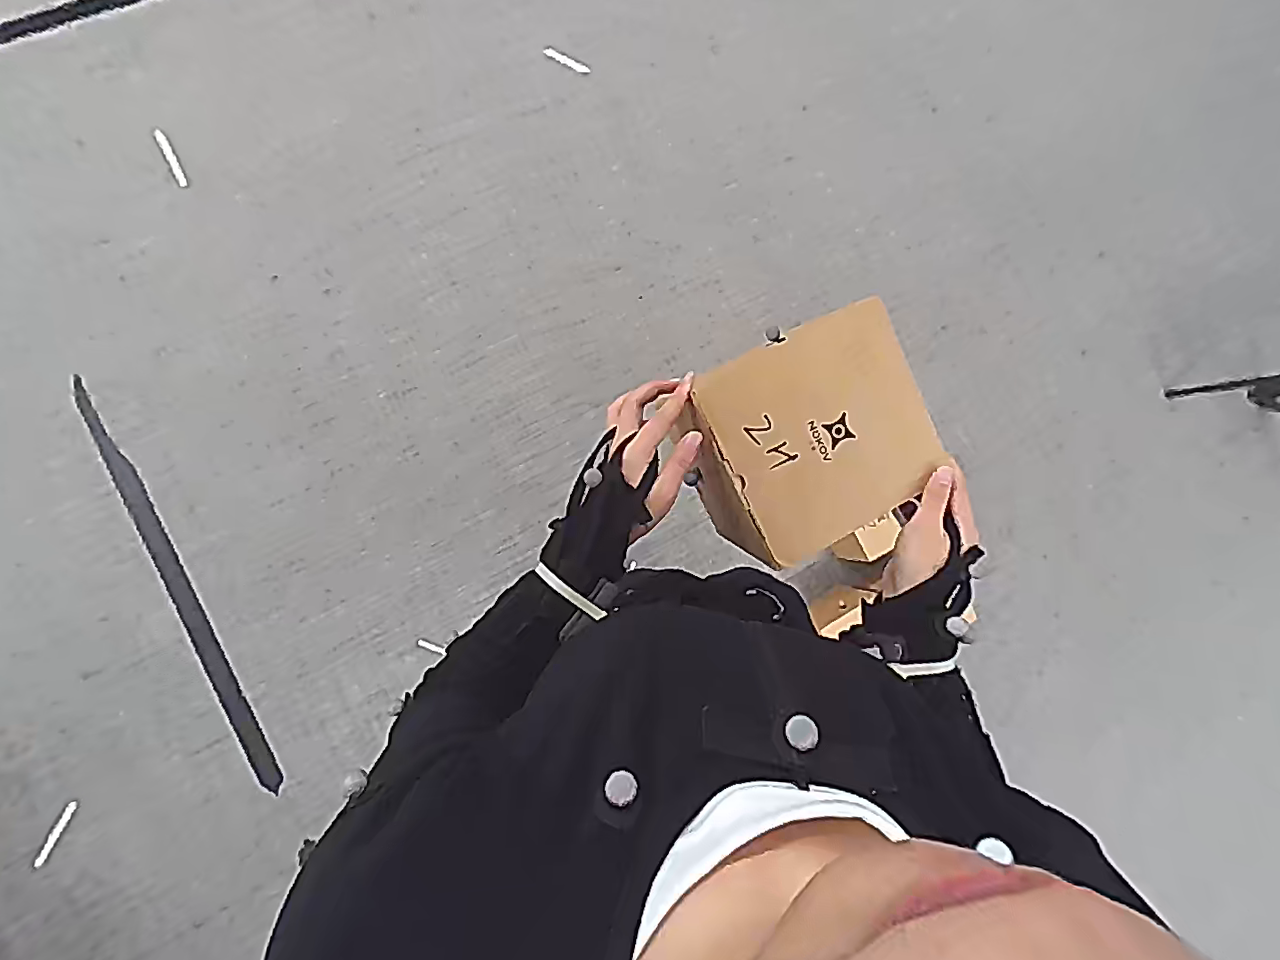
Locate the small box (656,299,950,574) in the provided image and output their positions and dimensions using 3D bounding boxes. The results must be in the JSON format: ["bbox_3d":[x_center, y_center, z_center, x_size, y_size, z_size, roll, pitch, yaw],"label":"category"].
[{"bbox_3d":[0.135,-0.042,0.507,0.179,0.176,0.168,-29,98,-5],"label":"small box"}]
